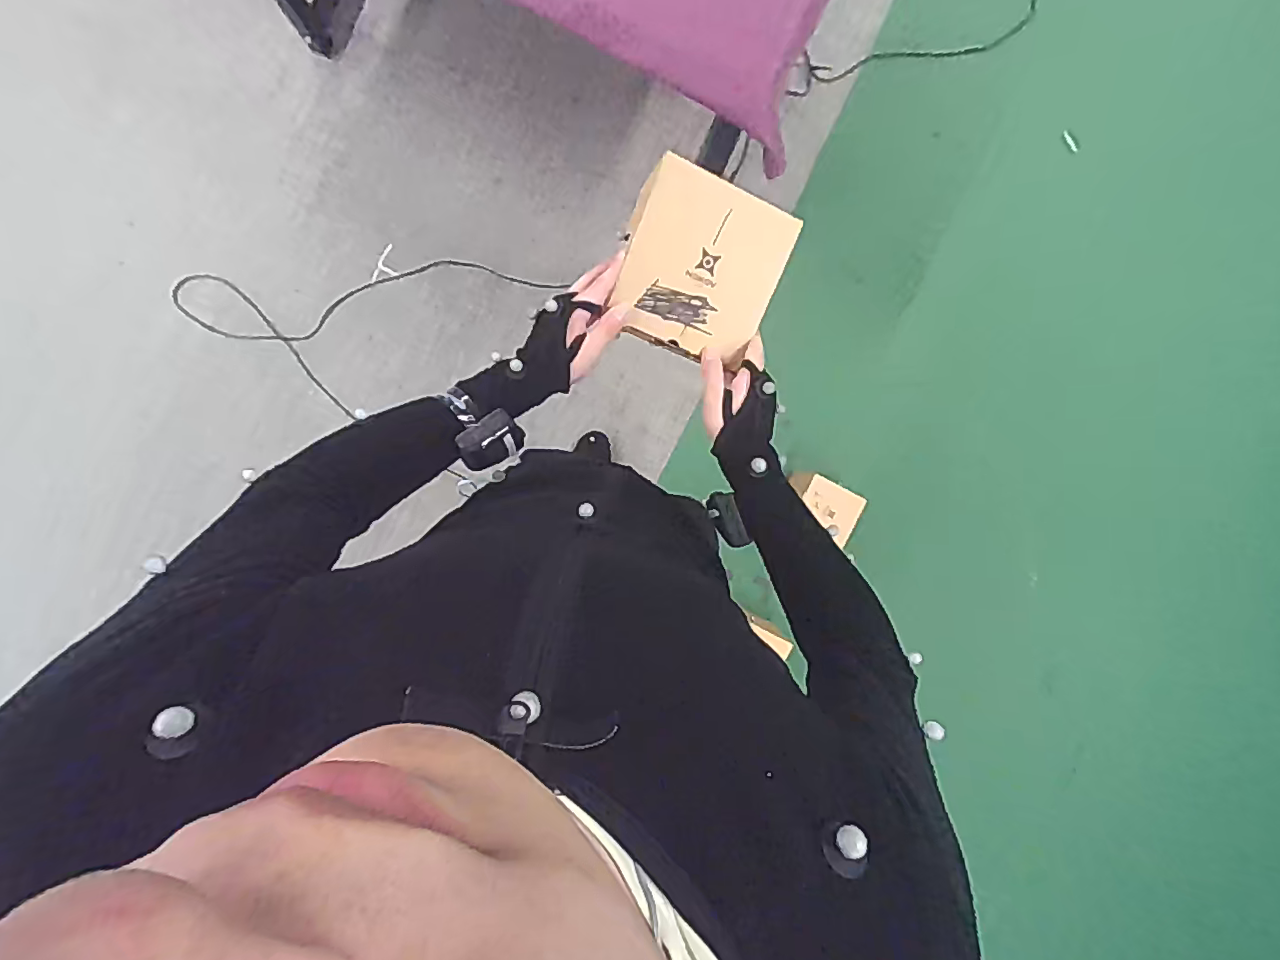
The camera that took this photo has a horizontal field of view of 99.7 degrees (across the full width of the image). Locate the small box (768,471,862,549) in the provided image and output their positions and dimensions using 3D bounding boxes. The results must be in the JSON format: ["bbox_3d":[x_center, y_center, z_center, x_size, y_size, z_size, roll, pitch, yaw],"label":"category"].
[{"bbox_3d":[0.512,0.081,1.605,0.179,0.176,0.168,27,91,-6],"label":"small box"}]

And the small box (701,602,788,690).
[{"bbox_3d":[0.306,0.488,1.619,0.179,0.176,0.168,28,92,-6],"label":"small box"}]

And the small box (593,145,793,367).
[{"bbox_3d":[0.048,-0.253,0.649,0.168,0.176,0.179,19,102,-14],"label":"small box"}]
